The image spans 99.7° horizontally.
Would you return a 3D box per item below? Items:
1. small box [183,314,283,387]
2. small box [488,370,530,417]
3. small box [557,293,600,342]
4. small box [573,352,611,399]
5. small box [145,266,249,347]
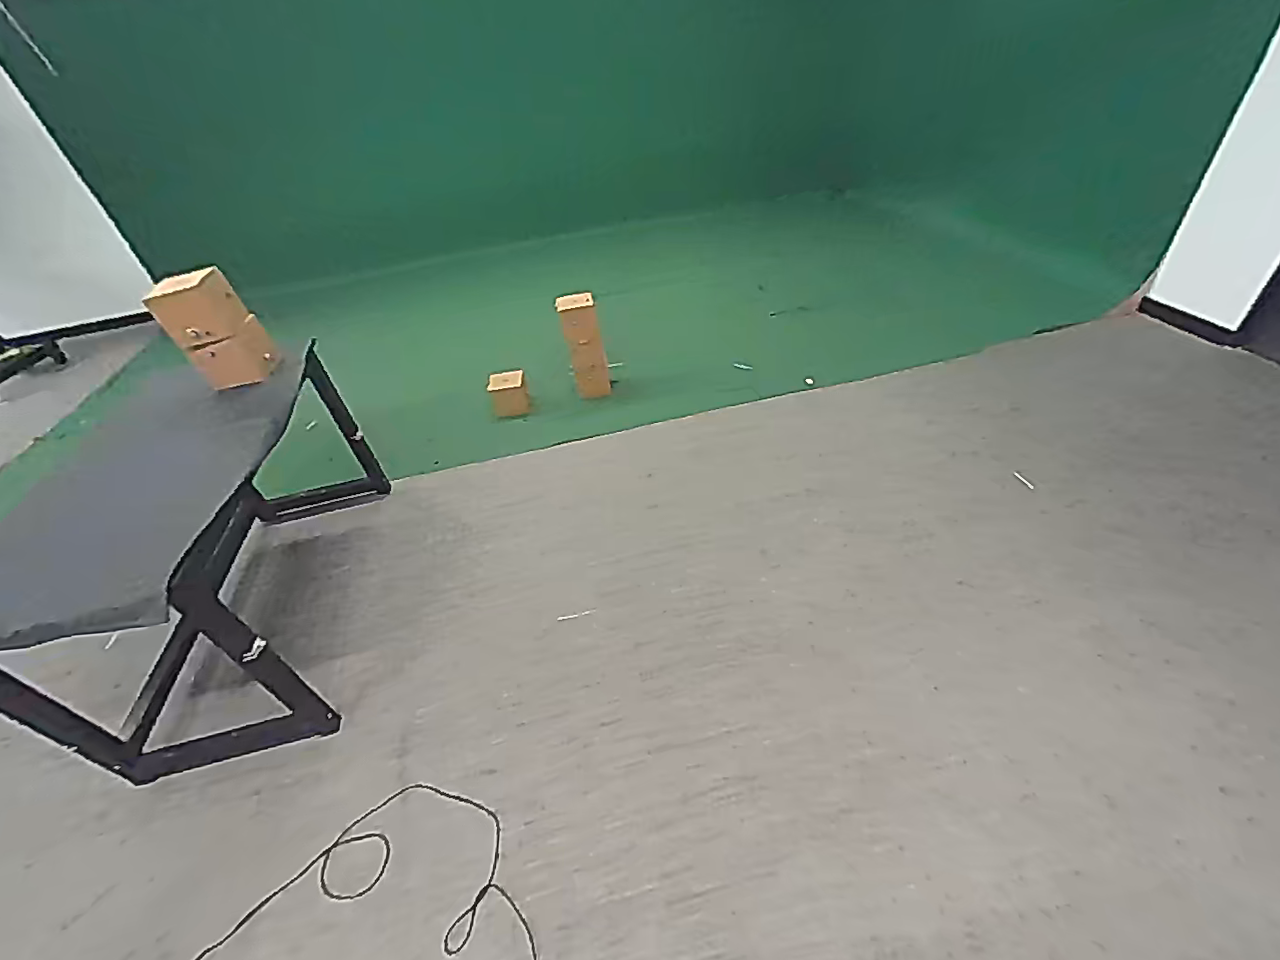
[{"bbox_3d":[-1.351,-0.430,1.810,0.179,0.176,0.168,-10,42,1],"label":"small box"},{"bbox_3d":[-0.682,-0.453,2.838,0.179,0.176,0.168,-9,40,0],"label":"small box"},{"bbox_3d":[-0.304,-0.799,2.667,0.179,0.176,0.168,-12,40,-2],"label":"small box"},{"bbox_3d":[-0.253,-0.555,2.880,0.179,0.176,0.168,-10,41,-1],"label":"small box"},{"bbox_3d":[-1.374,-0.542,1.695,0.168,0.176,0.179,-17,43,-4],"label":"small box"}]
